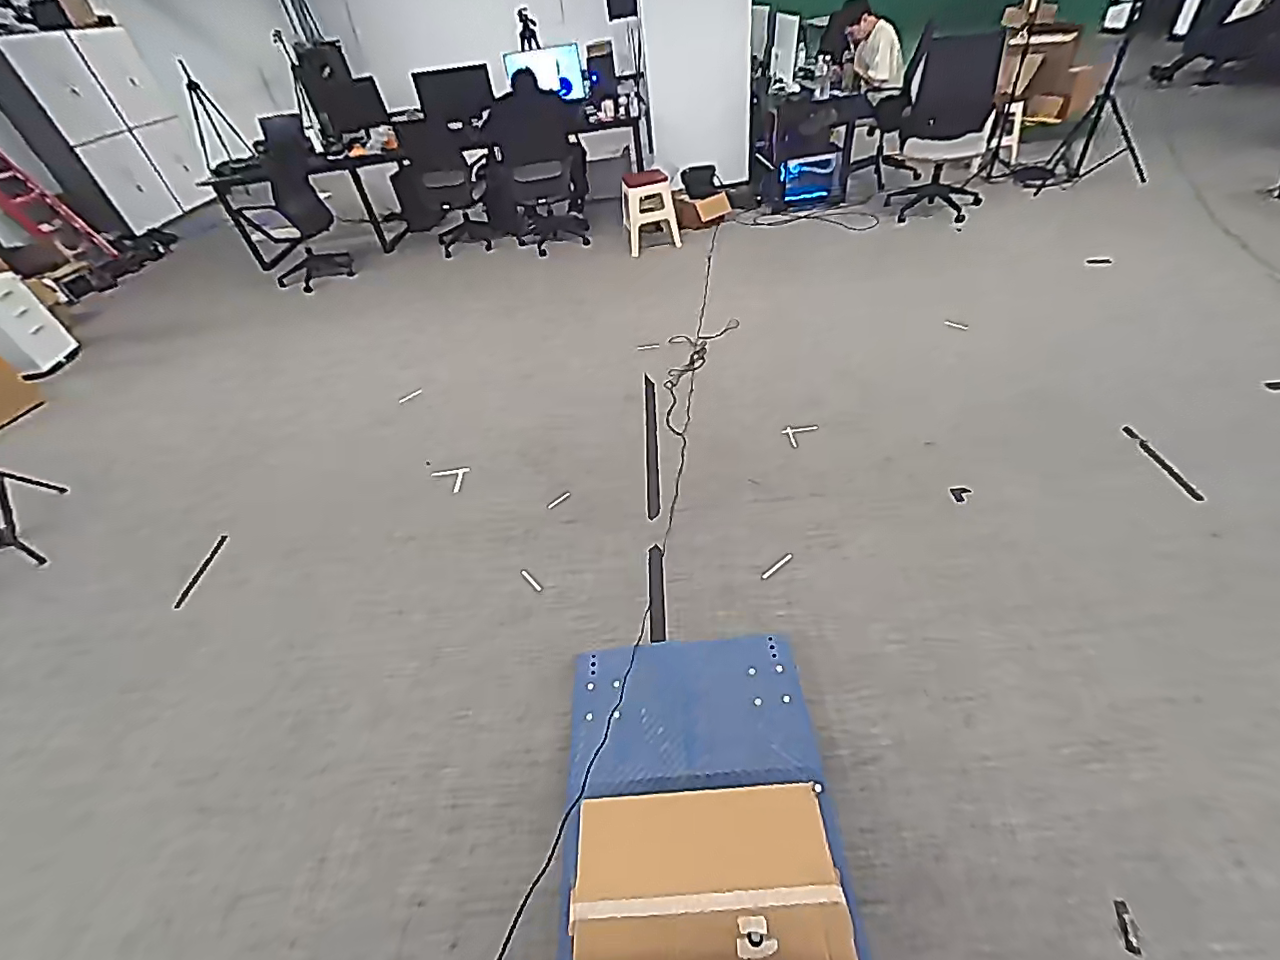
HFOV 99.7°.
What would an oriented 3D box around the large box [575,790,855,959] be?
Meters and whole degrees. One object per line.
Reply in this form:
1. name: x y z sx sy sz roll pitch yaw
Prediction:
1. large box: 0.116 0.759 0.901 0.408 0.320 0.320 -7 41 3
